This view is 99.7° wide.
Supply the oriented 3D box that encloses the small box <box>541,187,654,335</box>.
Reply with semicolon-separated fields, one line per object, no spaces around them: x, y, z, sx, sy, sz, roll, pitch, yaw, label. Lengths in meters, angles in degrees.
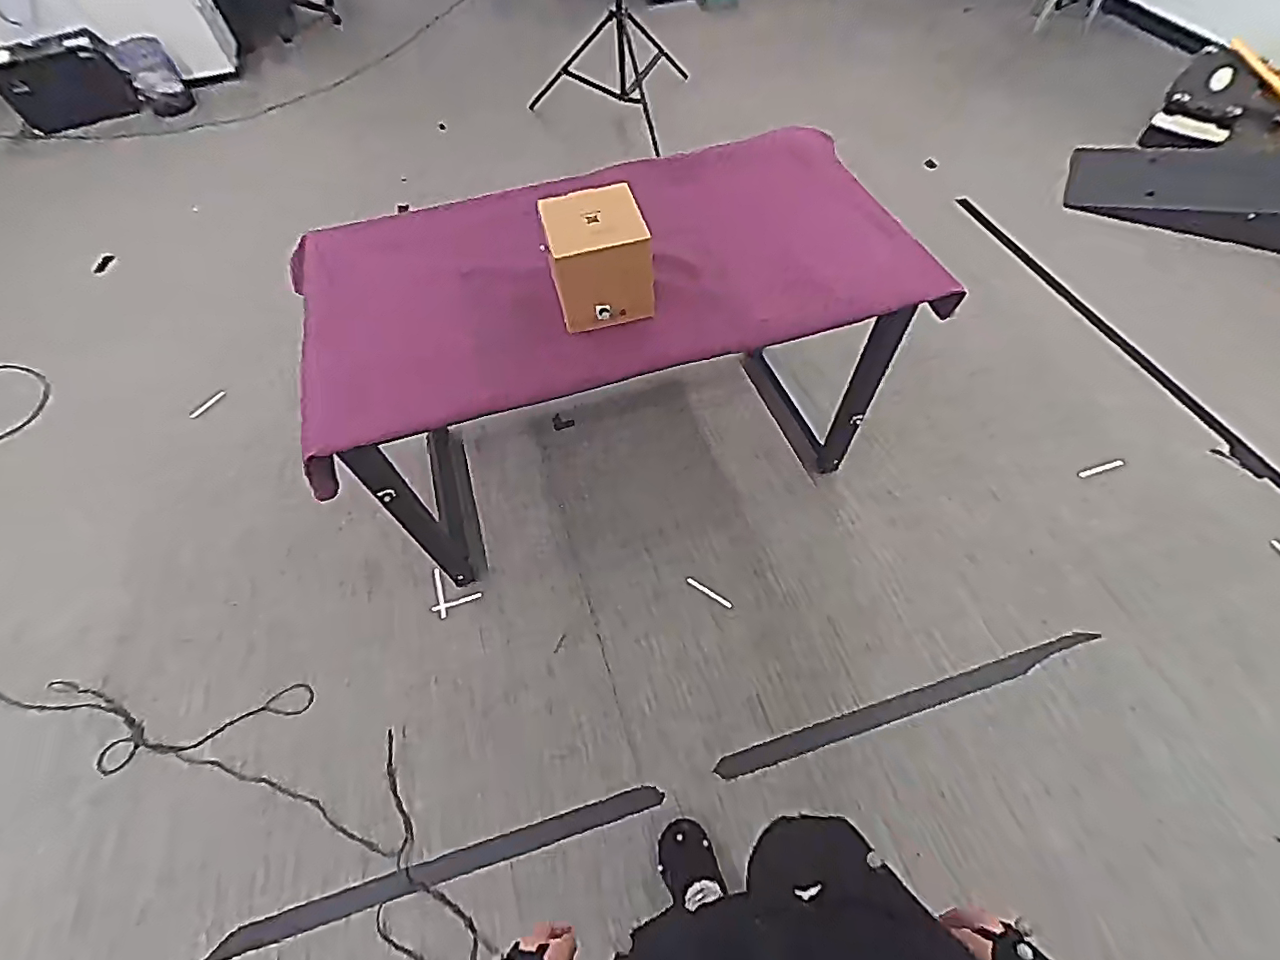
-0.074;-0.397;0.989;0.168;0.176;0.179;-15;59;-5;small box
